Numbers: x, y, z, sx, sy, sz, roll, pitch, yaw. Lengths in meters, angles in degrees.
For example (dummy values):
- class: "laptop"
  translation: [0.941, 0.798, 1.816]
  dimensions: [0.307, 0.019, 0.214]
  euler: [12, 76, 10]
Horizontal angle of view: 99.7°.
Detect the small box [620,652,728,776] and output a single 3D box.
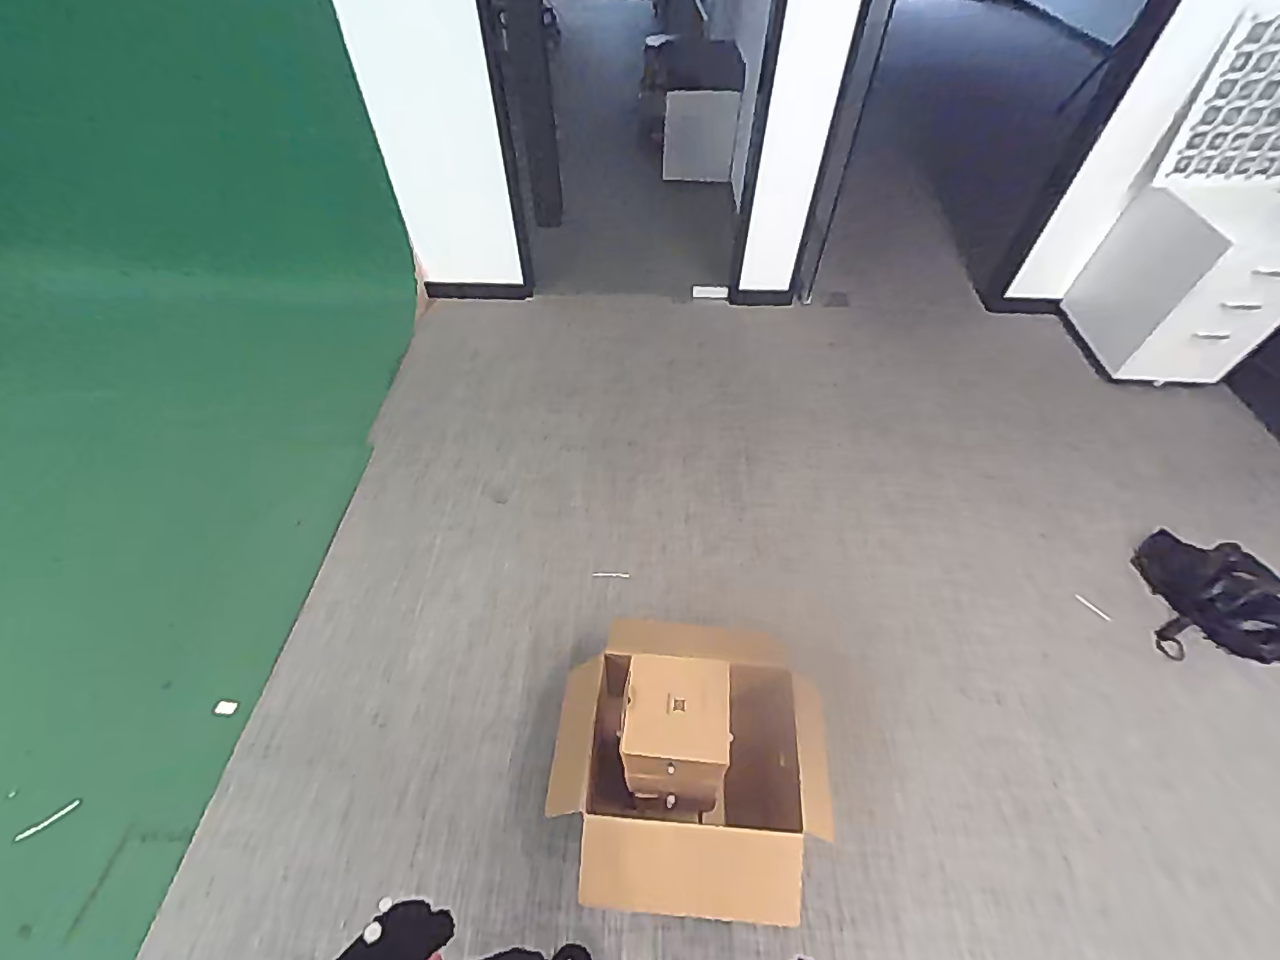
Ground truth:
- class: "small box"
  translation: [0.063, 0.425, 0.976]
  dimensions: [0.179, 0.176, 0.168]
  euler: [3, 53, 3]
